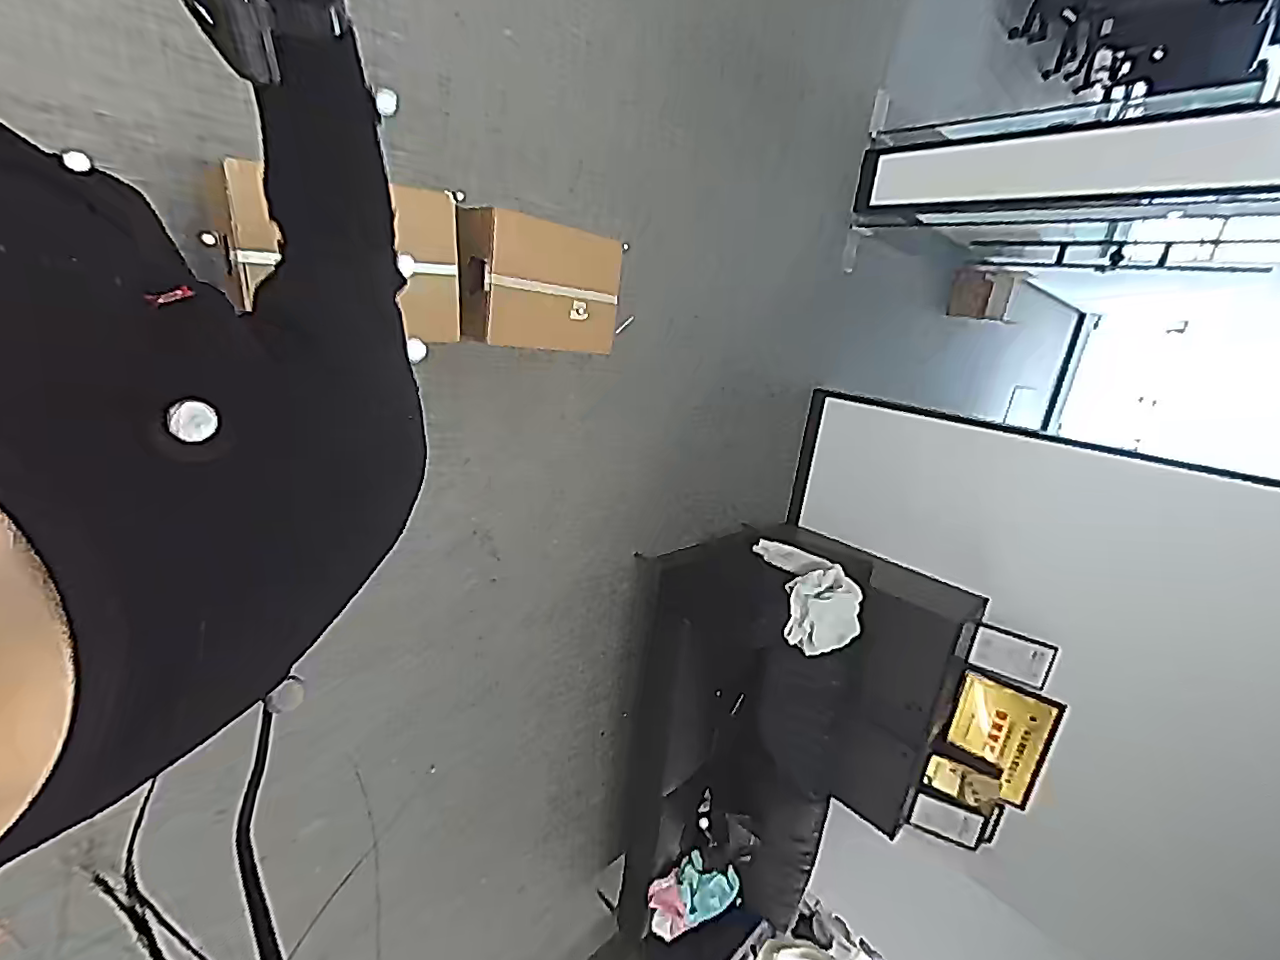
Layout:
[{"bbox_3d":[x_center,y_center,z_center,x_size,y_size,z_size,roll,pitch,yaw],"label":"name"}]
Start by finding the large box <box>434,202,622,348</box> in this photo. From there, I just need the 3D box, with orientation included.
[{"bbox_3d":[-0.312,-0.548,1.488,0.408,0.320,0.320,-8,114,-45],"label":"large box"}]
